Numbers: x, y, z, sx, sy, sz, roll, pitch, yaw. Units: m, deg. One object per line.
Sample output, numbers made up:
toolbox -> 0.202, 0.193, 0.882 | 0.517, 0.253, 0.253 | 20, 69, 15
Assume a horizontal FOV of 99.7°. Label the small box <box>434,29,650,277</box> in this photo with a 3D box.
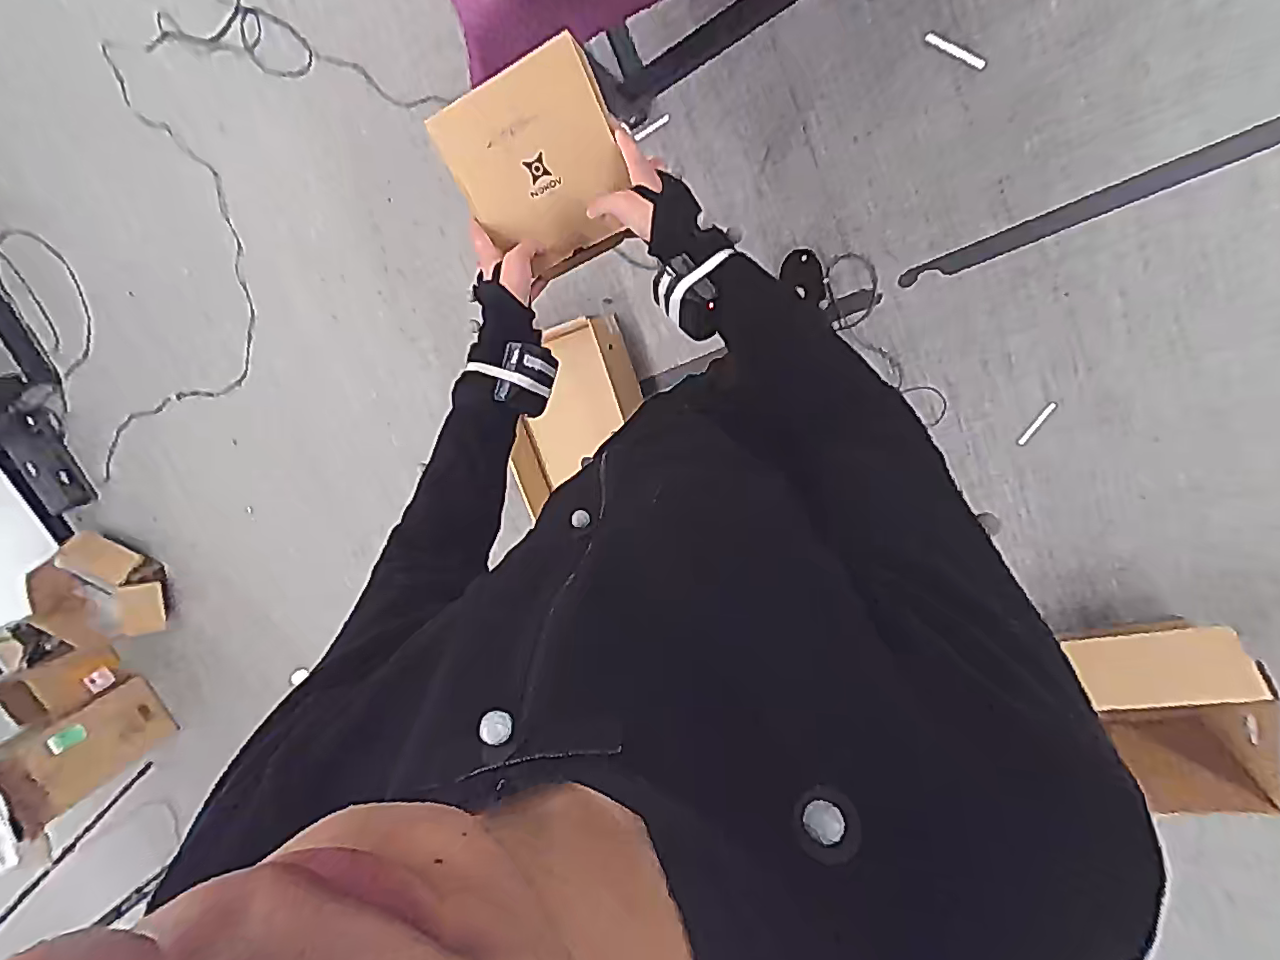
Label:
small box -> -0.094, -0.364, 0.616 | 0.168, 0.176, 0.179 | -20, 121, 12
